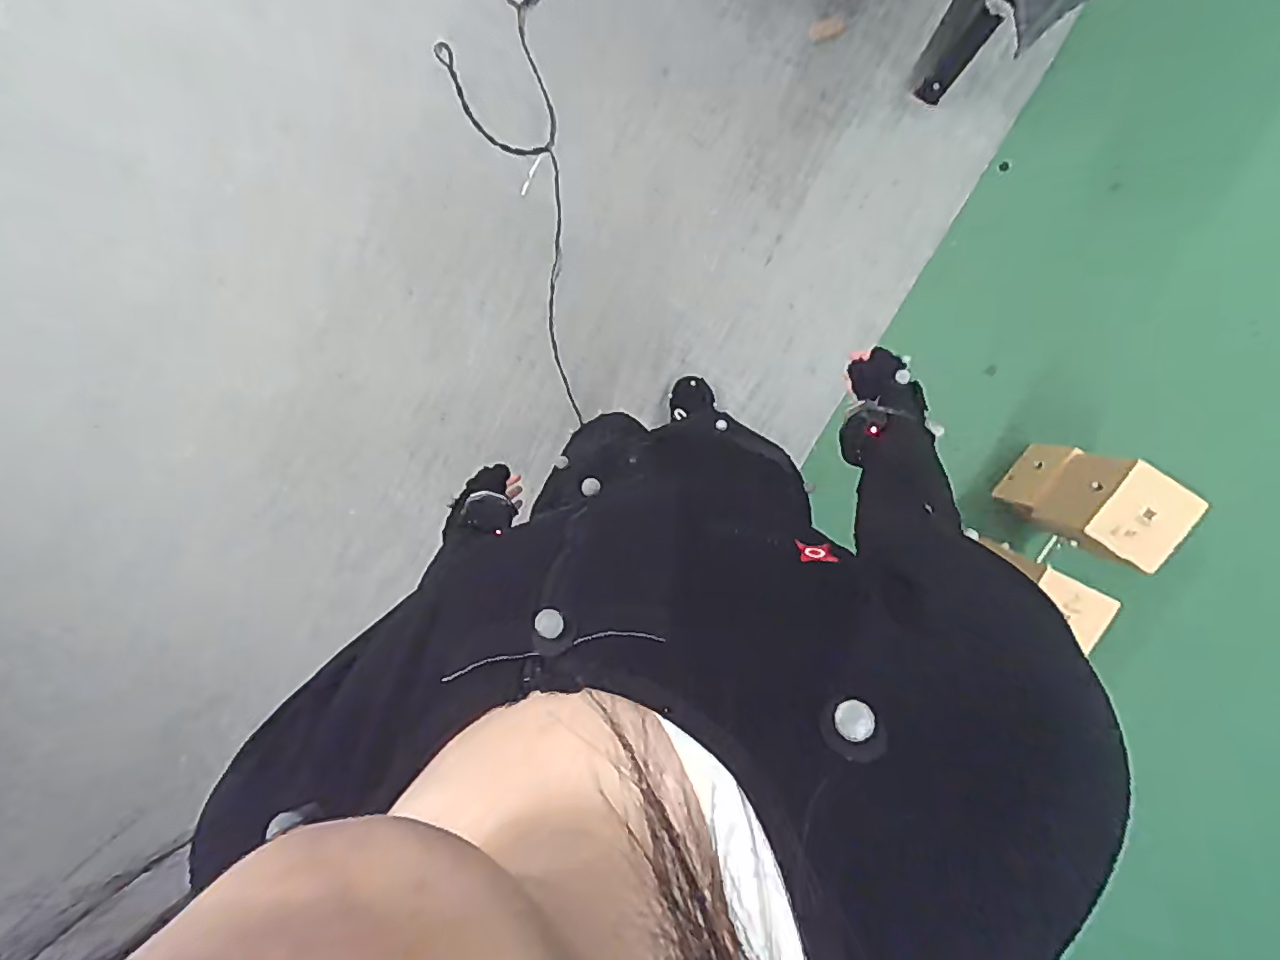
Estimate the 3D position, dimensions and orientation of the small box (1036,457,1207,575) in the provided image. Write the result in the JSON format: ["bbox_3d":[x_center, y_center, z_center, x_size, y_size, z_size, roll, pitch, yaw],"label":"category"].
[{"bbox_3d":[1.000,0.066,1.143,0.168,0.176,0.179,34,98,0],"label":"small box"}]

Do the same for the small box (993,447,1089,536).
[{"bbox_3d":[1.010,0.032,1.305,0.179,0.176,0.168,34,98,0],"label":"small box"}]
